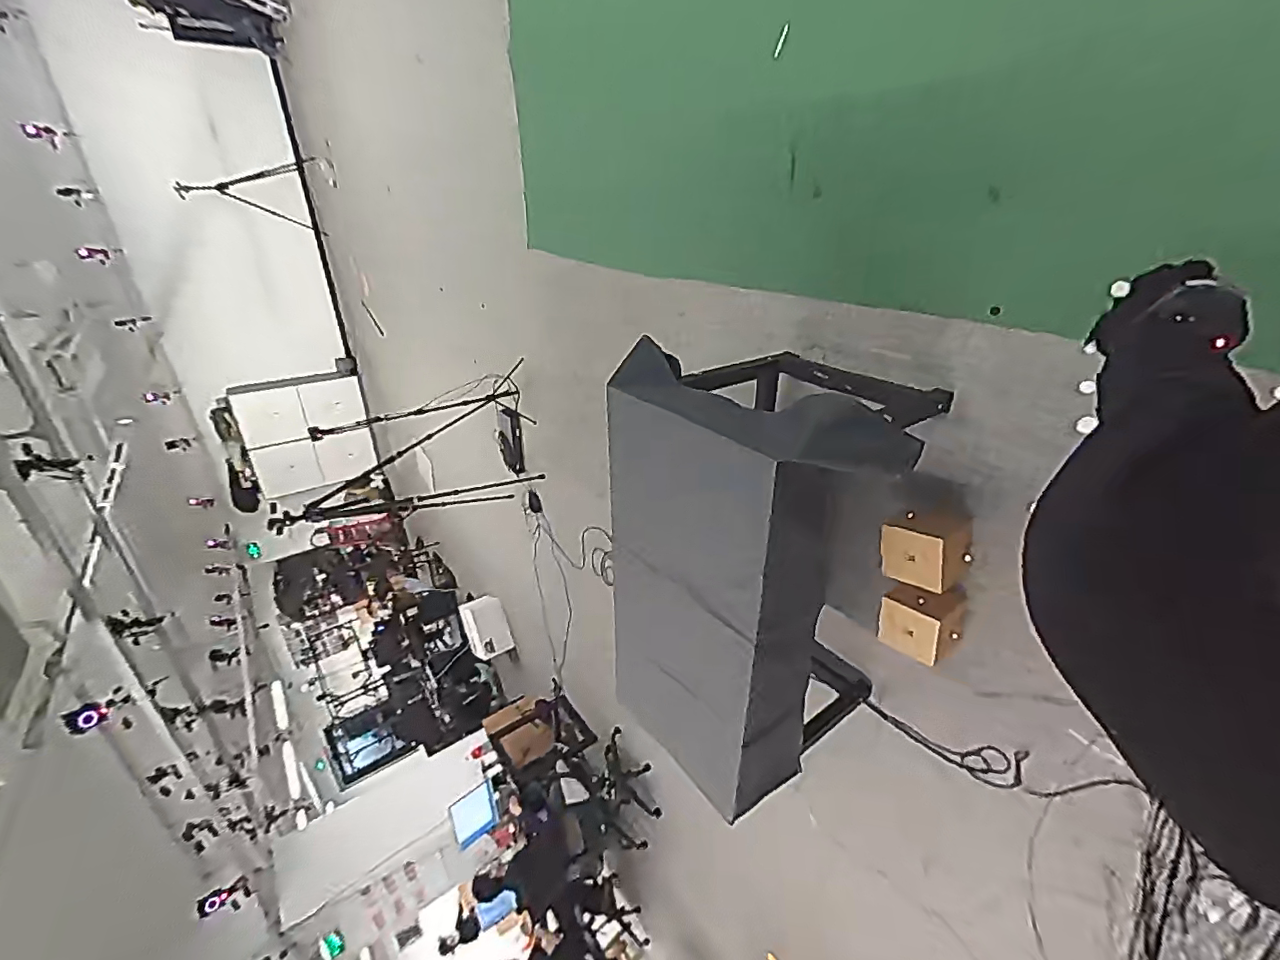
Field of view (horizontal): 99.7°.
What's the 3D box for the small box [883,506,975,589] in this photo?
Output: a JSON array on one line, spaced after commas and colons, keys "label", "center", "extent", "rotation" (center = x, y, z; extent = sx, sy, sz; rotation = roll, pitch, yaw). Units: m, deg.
[{"label": "small box", "center": [0.830, 0.184, 1.559], "extent": [0.179, 0.176, 0.168], "rotation": [17, 121, 53]}]
